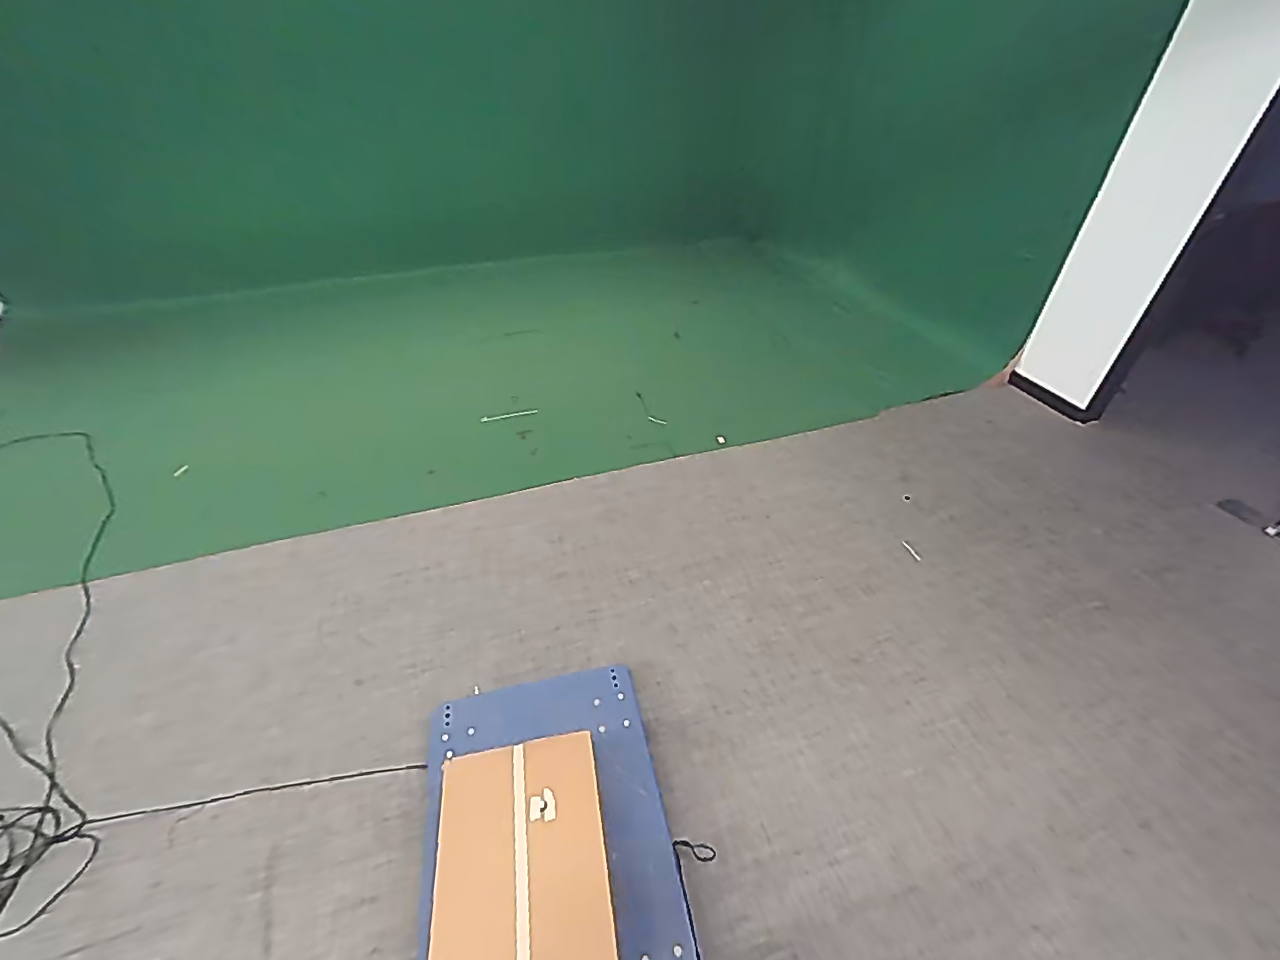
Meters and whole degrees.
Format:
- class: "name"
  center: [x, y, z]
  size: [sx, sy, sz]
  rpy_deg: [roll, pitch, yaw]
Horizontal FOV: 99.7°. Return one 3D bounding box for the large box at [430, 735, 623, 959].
- class: "large box"
  center: [-0.216, 0.812, 1.097]
  size: [0.320, 0.320, 0.408]
  rpy_deg: [-7, 40, -8]
